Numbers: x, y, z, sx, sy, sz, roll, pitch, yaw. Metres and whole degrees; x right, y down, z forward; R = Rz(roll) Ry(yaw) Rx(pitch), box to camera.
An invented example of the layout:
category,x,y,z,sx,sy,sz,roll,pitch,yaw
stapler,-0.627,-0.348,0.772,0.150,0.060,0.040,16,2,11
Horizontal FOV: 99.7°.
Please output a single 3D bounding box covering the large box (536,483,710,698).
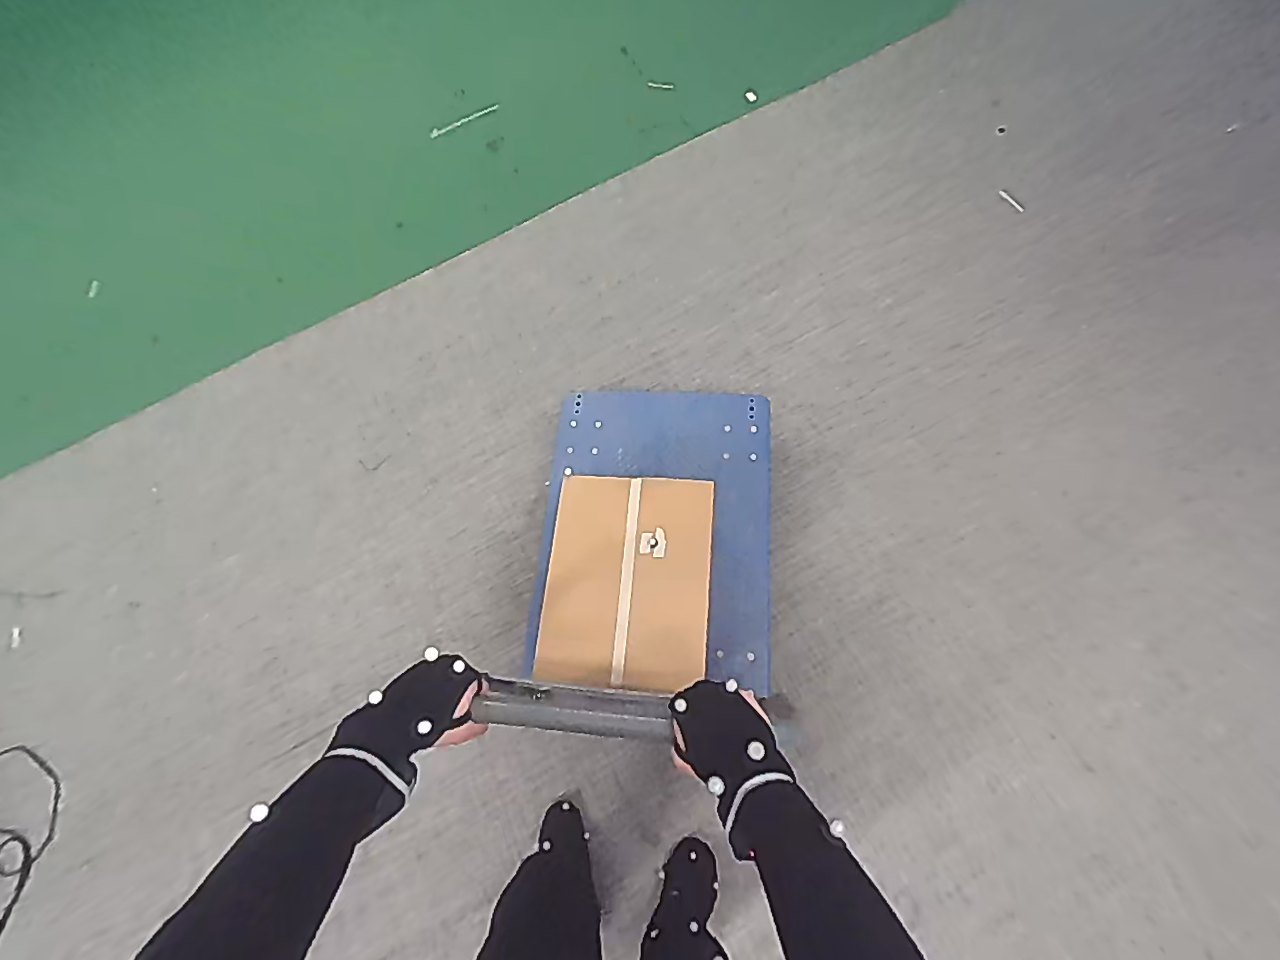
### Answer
category,x,y,z,sx,sy,sz,roll,pitch,yaw
large box,-0.008,0.253,1.187,0.320,0.320,0.408,3,68,8
